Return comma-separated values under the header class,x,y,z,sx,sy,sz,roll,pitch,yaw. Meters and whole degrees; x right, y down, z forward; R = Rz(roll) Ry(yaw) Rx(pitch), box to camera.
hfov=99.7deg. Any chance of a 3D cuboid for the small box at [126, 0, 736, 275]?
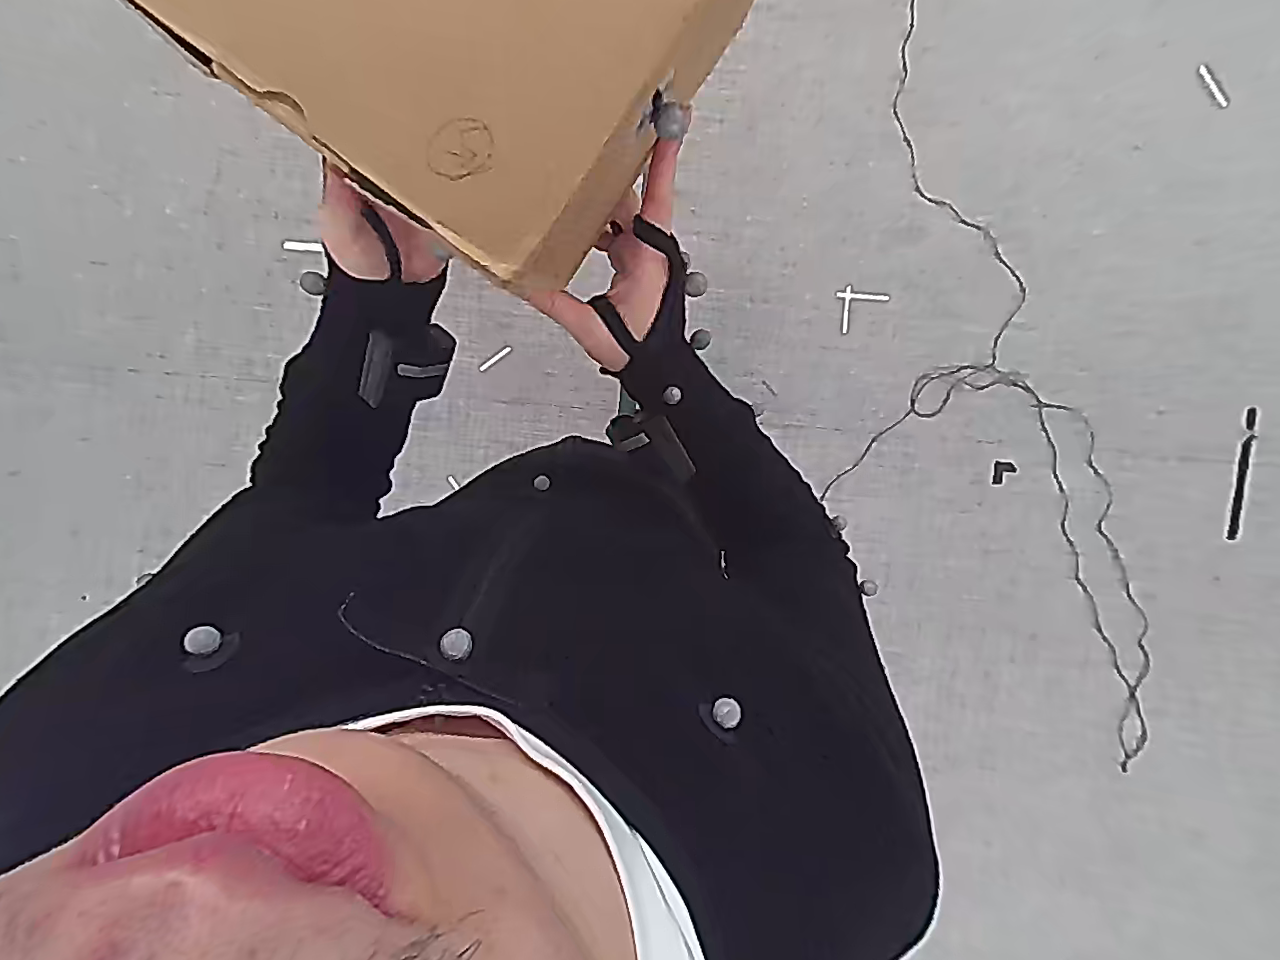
class,x,y,z,sx,sy,sz,roll,pitch,yaw
small box,-0.060,-0.208,0.230,0.168,0.176,0.179,34,105,-13
